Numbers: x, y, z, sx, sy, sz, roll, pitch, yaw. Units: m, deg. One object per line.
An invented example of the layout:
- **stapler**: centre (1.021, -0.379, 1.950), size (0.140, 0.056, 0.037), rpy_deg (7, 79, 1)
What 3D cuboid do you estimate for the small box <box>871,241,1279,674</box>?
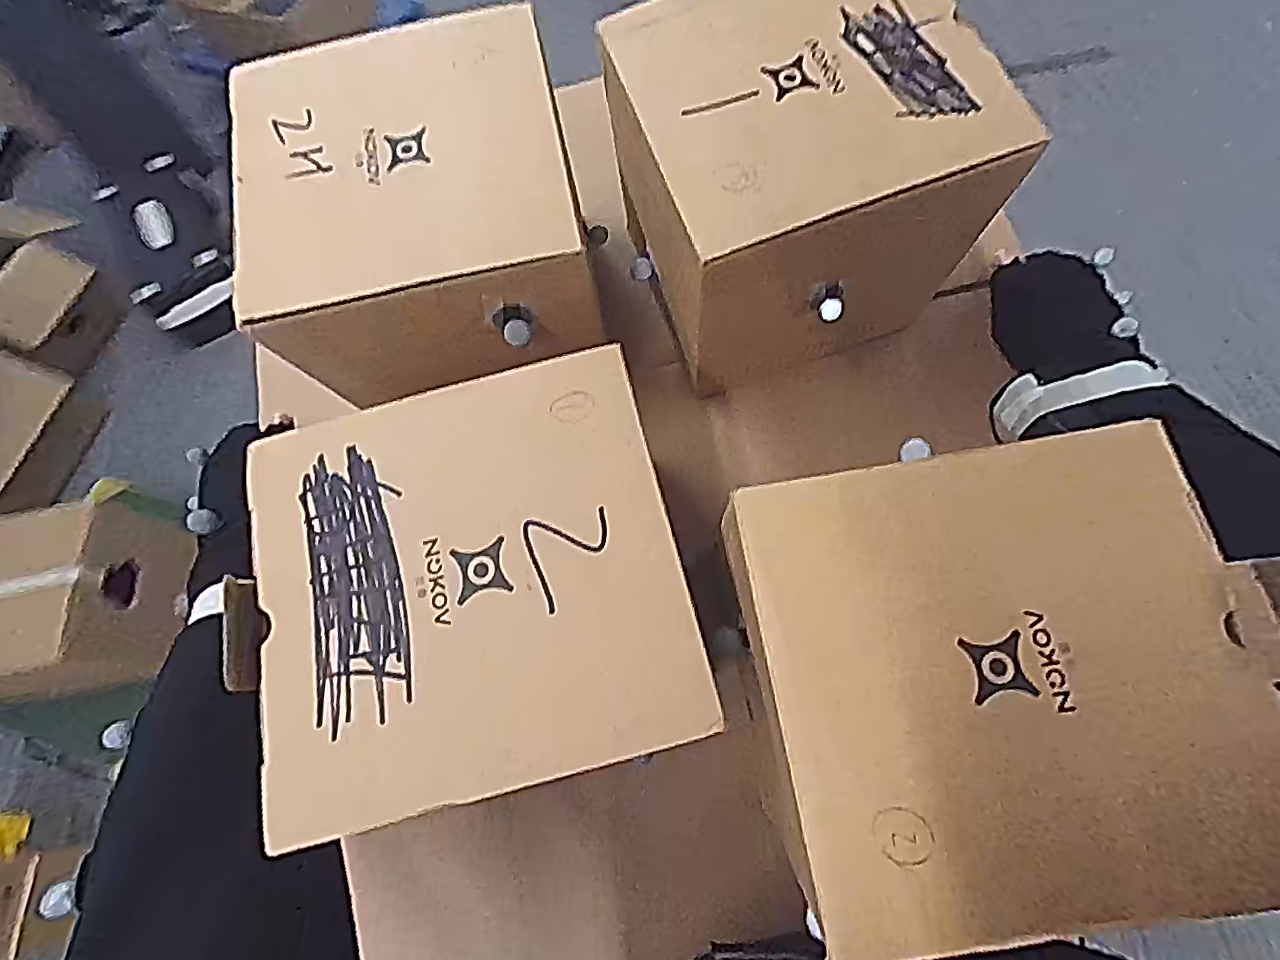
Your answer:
- **small box**: centre (0.235, -0.001, 0.276), size (0.179, 0.176, 0.168), rpy_deg (4, 81, 5)
